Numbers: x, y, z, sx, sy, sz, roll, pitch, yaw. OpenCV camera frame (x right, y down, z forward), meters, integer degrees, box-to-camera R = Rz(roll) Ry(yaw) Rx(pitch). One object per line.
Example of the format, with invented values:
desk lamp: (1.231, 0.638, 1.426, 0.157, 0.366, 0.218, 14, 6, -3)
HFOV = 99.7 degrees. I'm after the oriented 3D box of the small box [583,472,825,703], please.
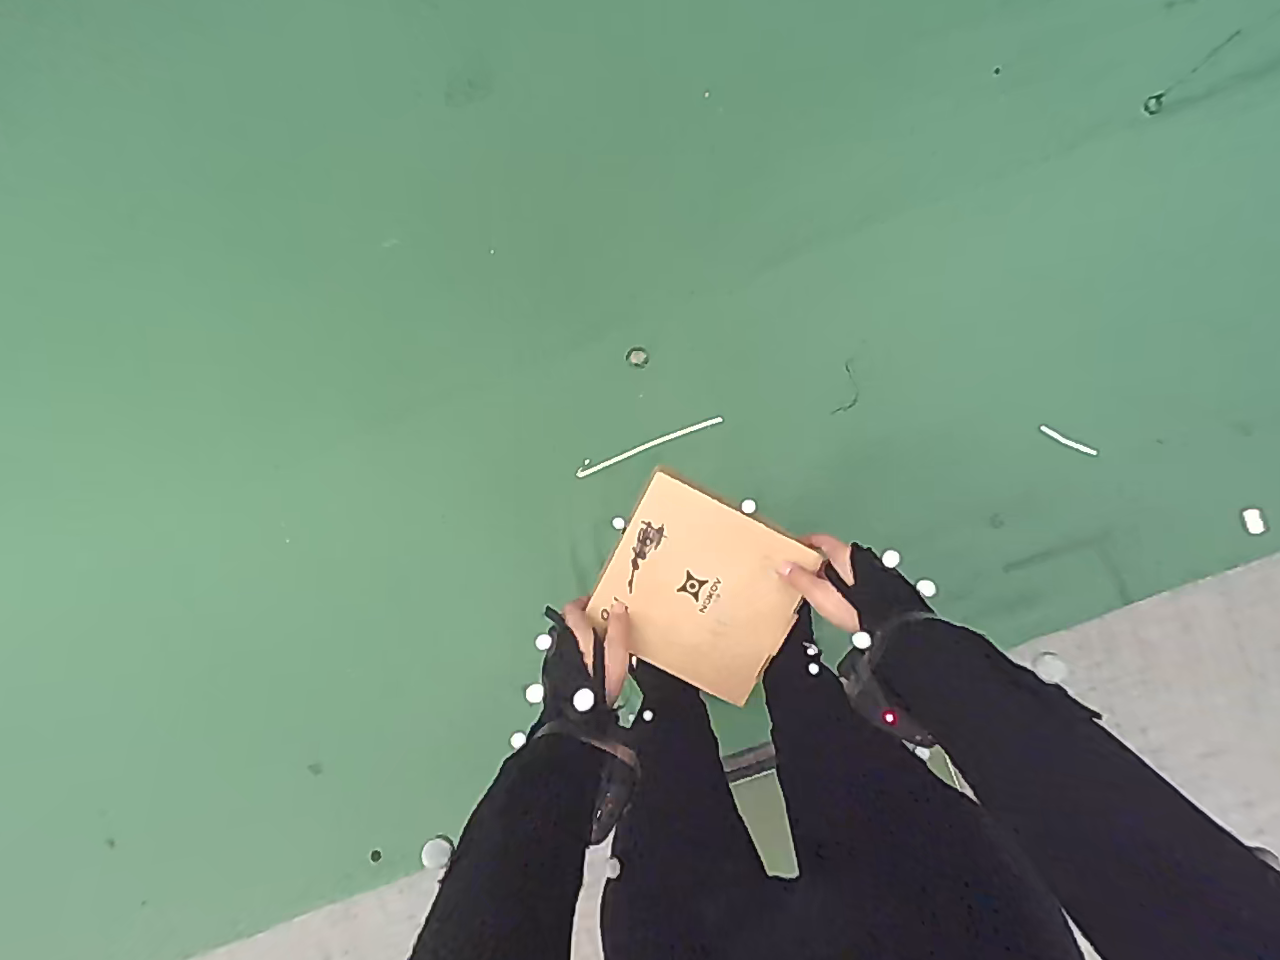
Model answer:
small box: (0.061, 0.097, 0.585, 0.179, 0.176, 0.168, 28, 93, 0)
